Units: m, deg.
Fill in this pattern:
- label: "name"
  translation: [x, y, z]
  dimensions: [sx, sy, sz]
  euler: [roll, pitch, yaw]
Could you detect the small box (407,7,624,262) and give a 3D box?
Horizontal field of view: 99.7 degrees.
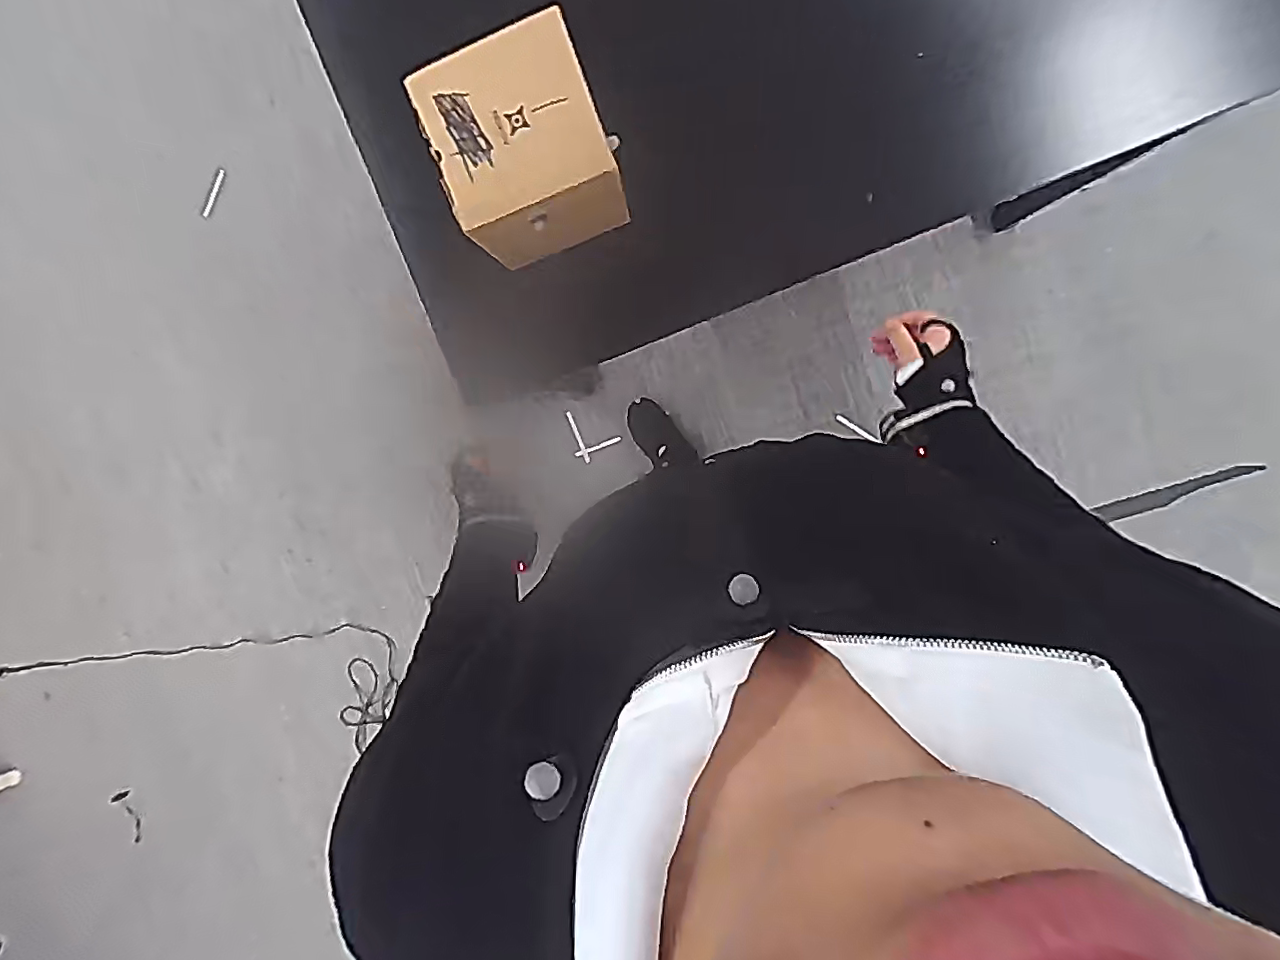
- label: "small box"
  translation: [-0.130, -0.381, 0.637]
  dimensions: [0.179, 0.176, 0.168]
  euler: [-20, 97, 6]
